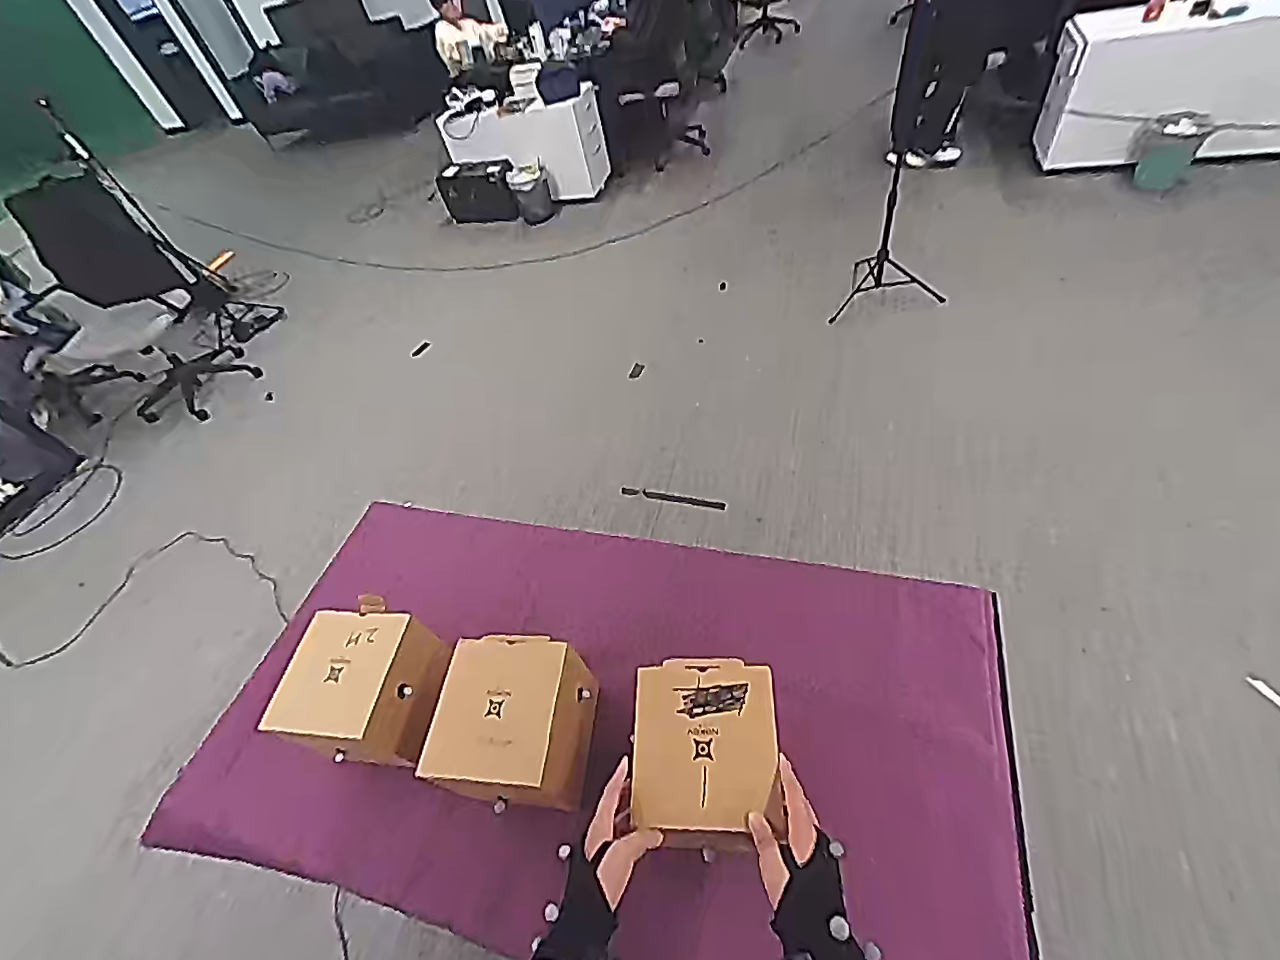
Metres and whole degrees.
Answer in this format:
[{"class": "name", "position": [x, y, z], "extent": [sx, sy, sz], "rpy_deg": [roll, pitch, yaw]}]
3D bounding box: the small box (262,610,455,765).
[{"class": "small box", "position": [-0.408, 0.318, 0.824], "extent": [0.168, 0.176, 0.179], "rpy_deg": [0, 51, 13]}]

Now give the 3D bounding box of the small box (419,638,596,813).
[{"class": "small box", "position": [-0.167, 0.340, 0.751], "extent": [0.168, 0.176, 0.179], "rpy_deg": [-1, 50, 13]}]

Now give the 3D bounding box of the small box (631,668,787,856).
[{"class": "small box", "position": [0.090, 0.353, 0.677], "extent": [0.168, 0.176, 0.179], "rpy_deg": [-4, 51, 11]}]
